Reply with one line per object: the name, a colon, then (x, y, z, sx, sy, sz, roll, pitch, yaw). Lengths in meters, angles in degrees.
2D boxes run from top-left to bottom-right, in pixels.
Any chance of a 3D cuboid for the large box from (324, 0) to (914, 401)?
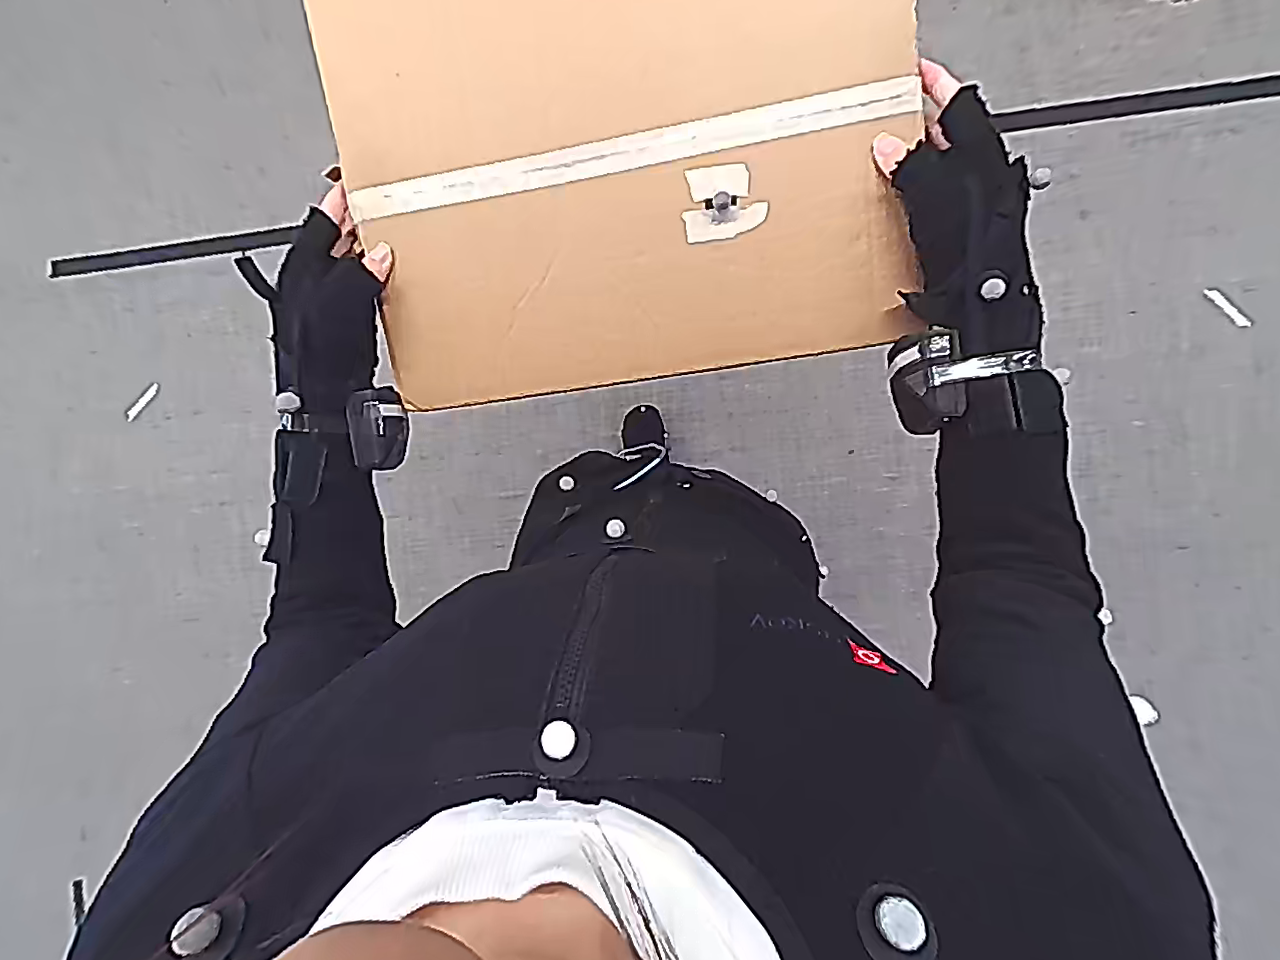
large box: (-0.002, -0.272, 0.541, 0.408, 0.320, 0.320, -7, 103, 7)
